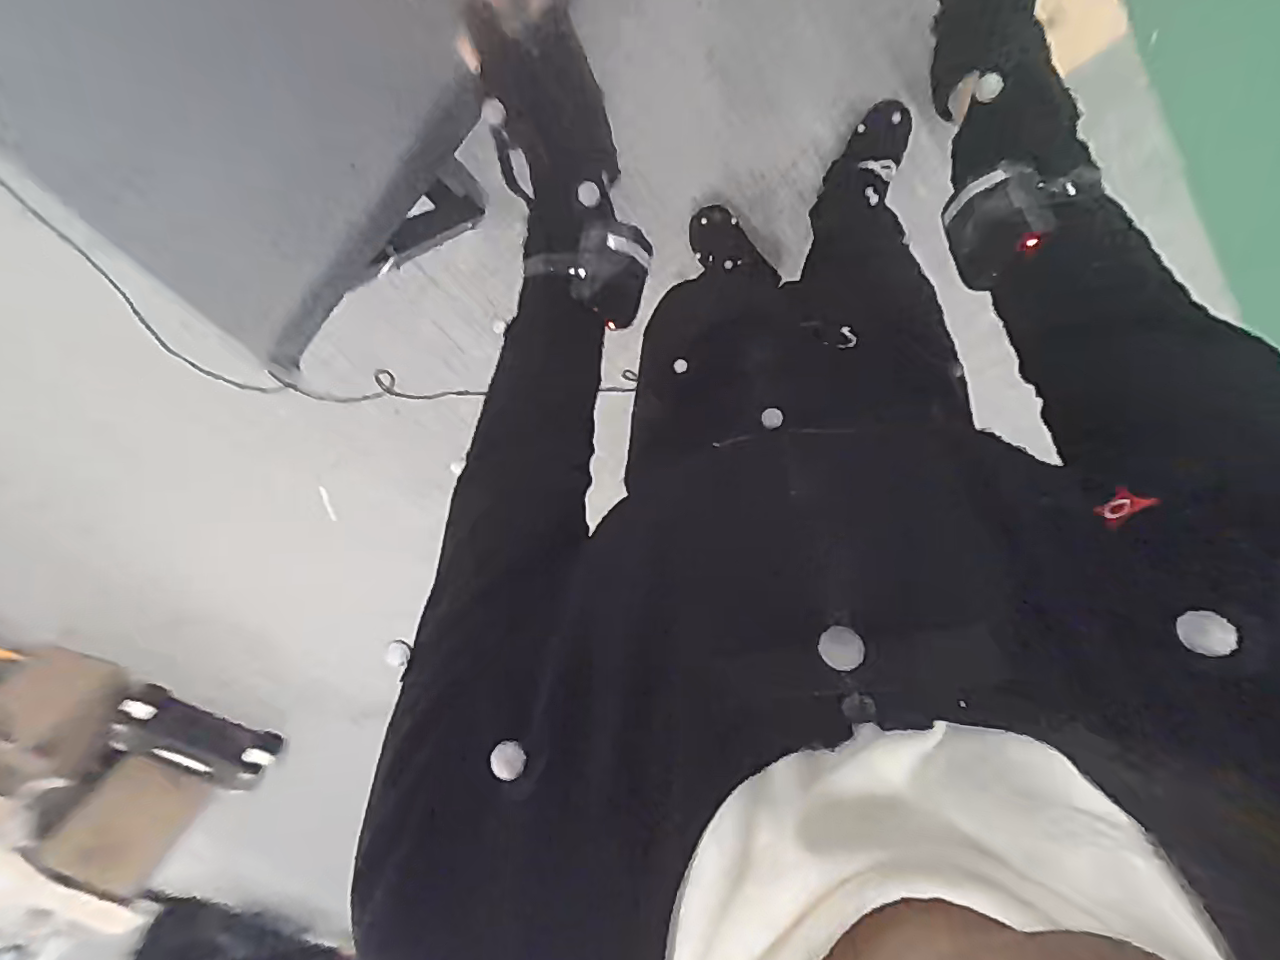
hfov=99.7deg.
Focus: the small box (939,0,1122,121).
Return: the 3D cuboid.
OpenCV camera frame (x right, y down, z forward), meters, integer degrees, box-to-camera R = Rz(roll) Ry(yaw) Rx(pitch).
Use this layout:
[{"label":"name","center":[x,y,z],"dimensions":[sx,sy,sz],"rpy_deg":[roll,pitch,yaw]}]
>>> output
[{"label":"small box","center":[0.646,-0.748,0.914],"dimensions":[0.179,0.176,0.168],"rpy_deg":[-31,114,26]}]
